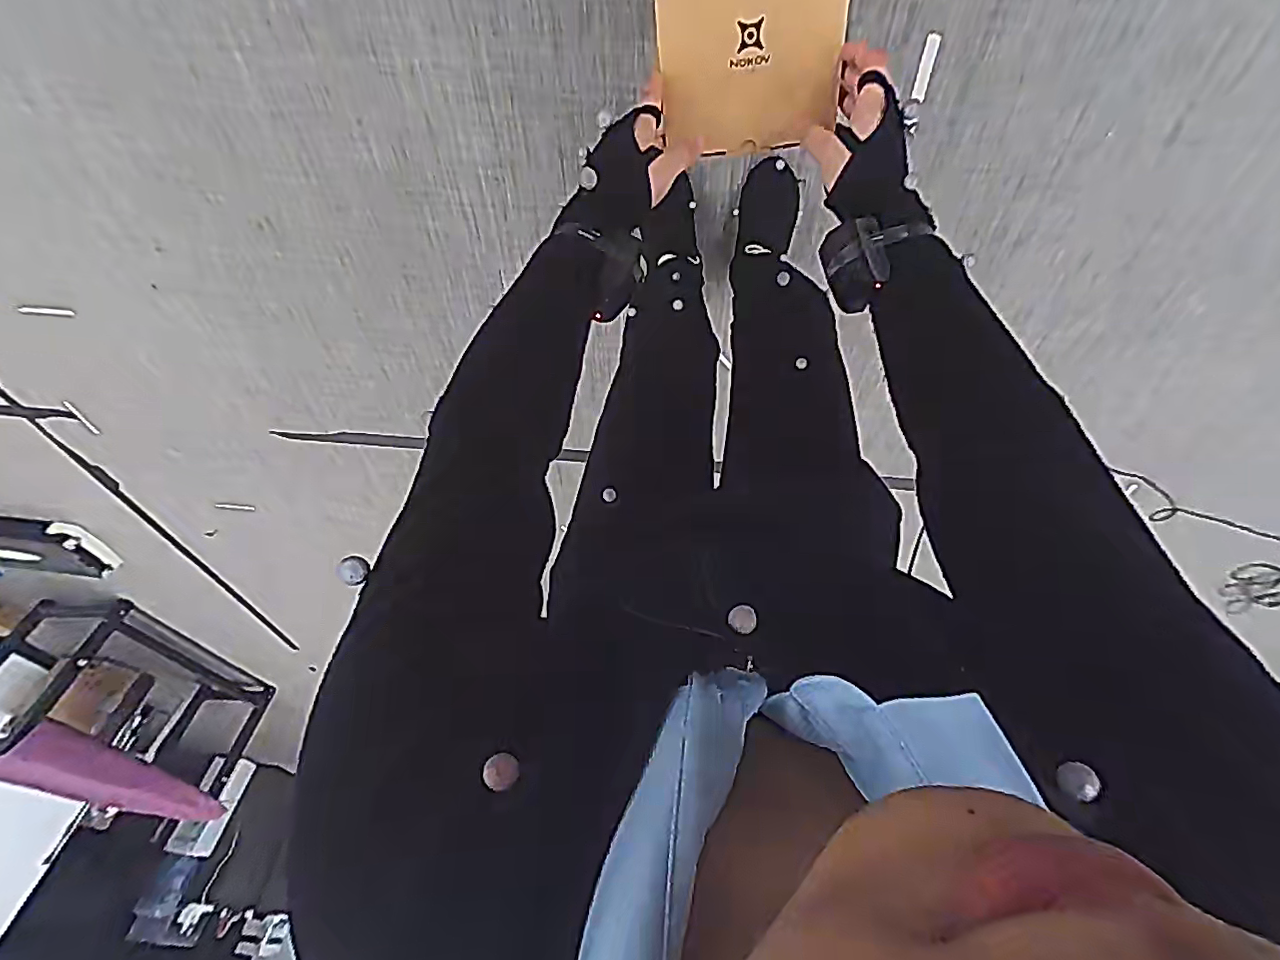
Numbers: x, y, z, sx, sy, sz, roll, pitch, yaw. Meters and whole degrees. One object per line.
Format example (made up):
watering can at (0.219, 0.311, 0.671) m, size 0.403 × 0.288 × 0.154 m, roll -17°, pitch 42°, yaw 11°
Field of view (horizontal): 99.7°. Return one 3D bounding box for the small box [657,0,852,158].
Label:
small box at (0.105, -0.446, 0.529) m, size 0.168 × 0.176 × 0.179 m, roll -1°, pitch 138°, yaw 10°
